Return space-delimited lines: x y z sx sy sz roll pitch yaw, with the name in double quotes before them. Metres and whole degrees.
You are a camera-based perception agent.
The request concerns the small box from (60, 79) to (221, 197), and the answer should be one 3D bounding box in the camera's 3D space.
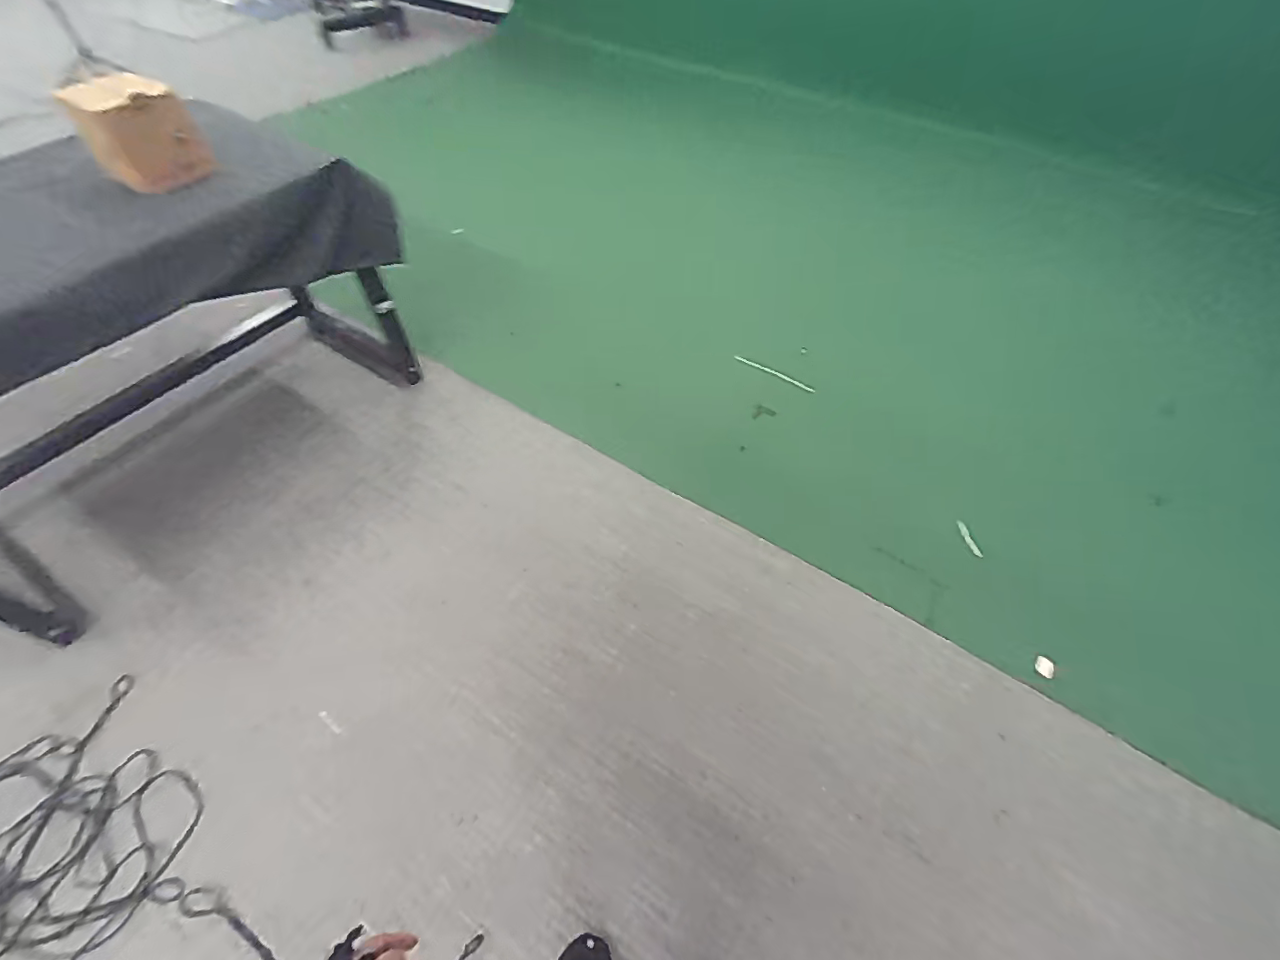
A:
"small box" -1.096 -0.757 1.205 0.179 0.176 0.168 27 56 19
